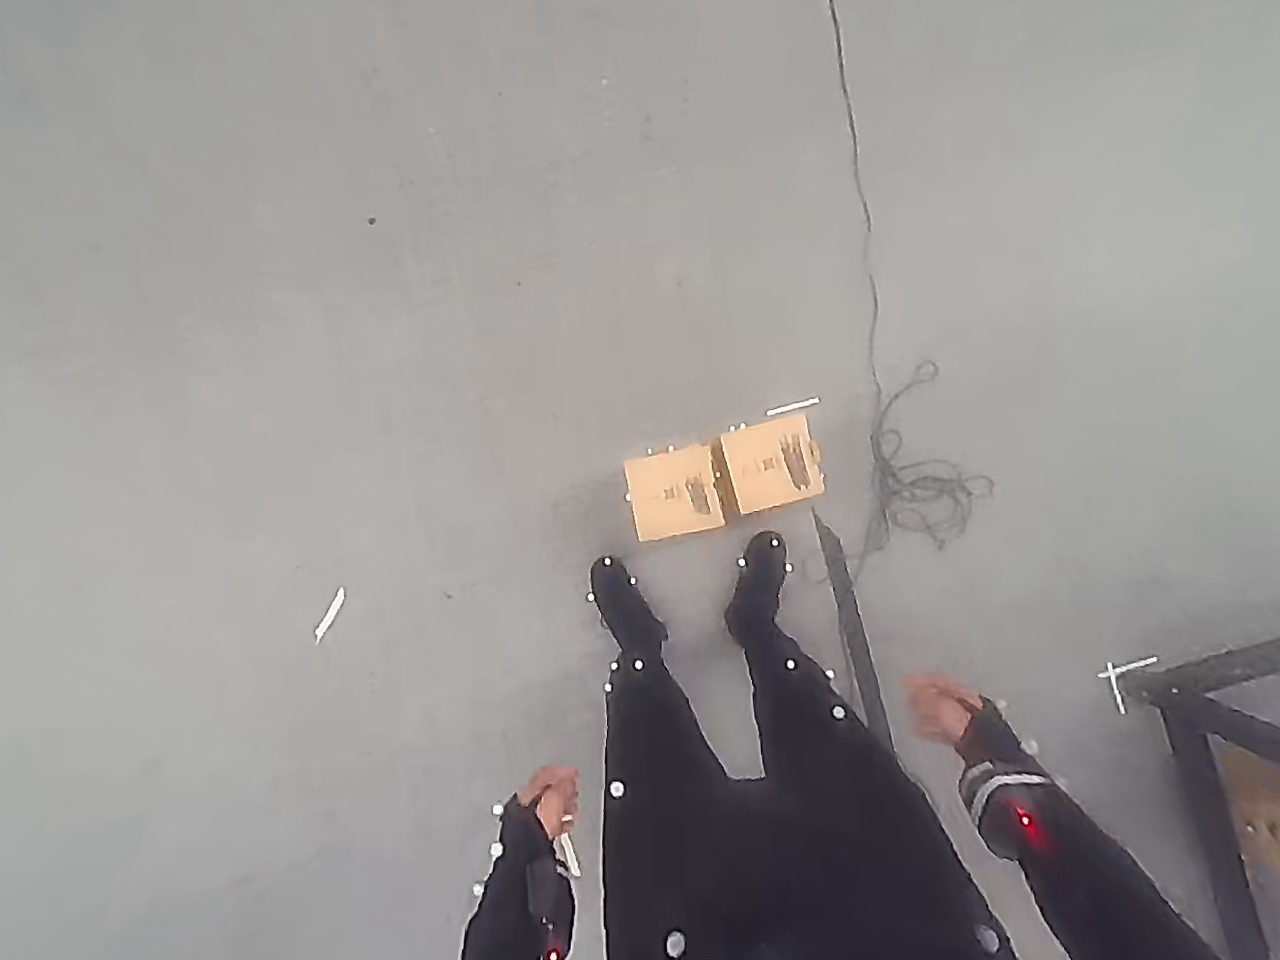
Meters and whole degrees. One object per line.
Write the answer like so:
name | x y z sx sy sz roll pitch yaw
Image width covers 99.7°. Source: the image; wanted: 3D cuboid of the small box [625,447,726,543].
small box | 0.074 0.027 1.136 0.179 0.176 0.168 -12 90 5
